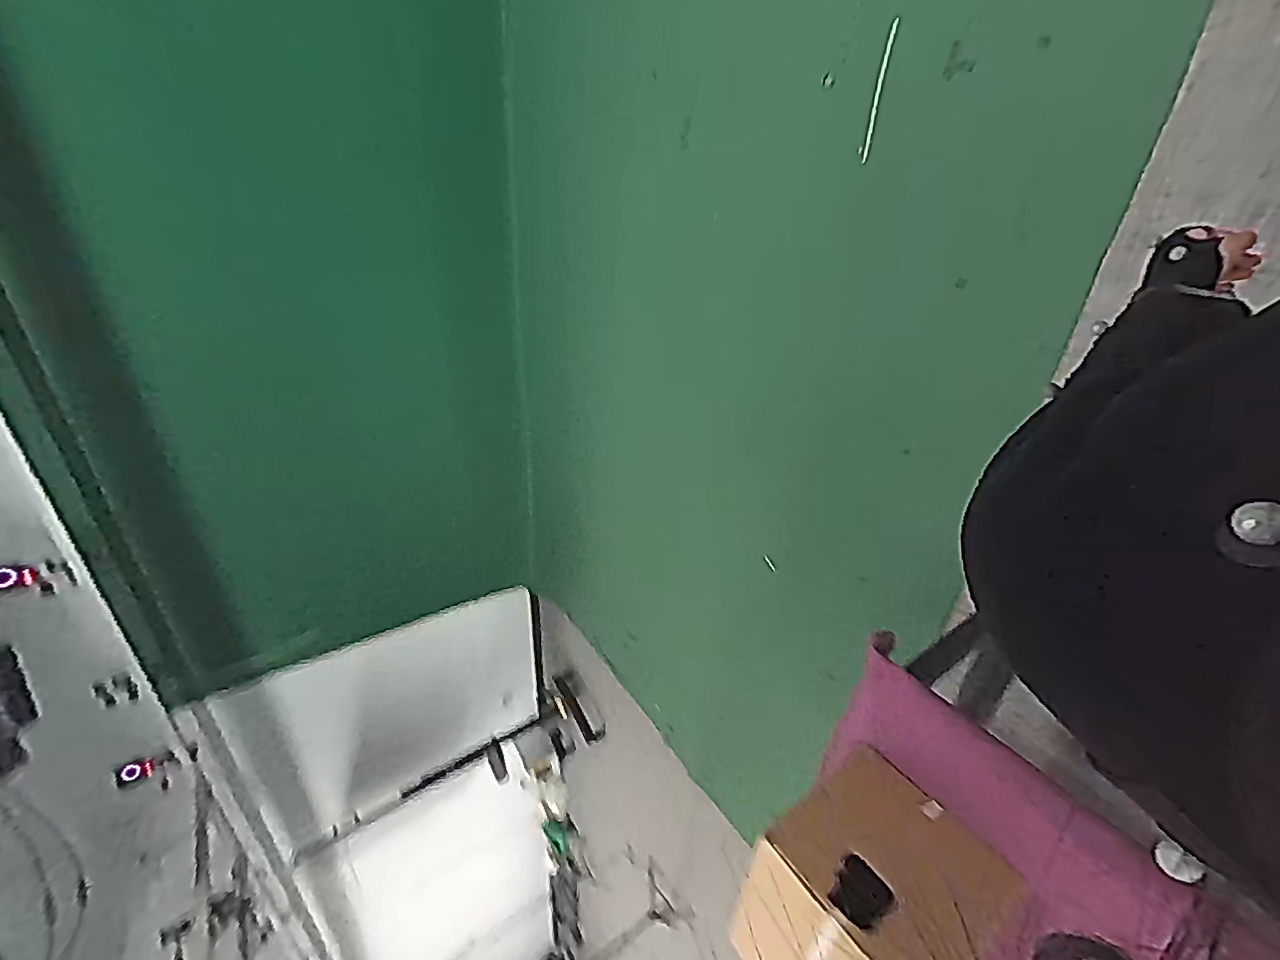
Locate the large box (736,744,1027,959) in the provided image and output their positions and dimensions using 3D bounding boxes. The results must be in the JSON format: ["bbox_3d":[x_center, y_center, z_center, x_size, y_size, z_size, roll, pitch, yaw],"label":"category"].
[{"bbox_3d":[0.415,0.792,0.991,0.320,0.320,0.408,34,130,43],"label":"large box"}]
